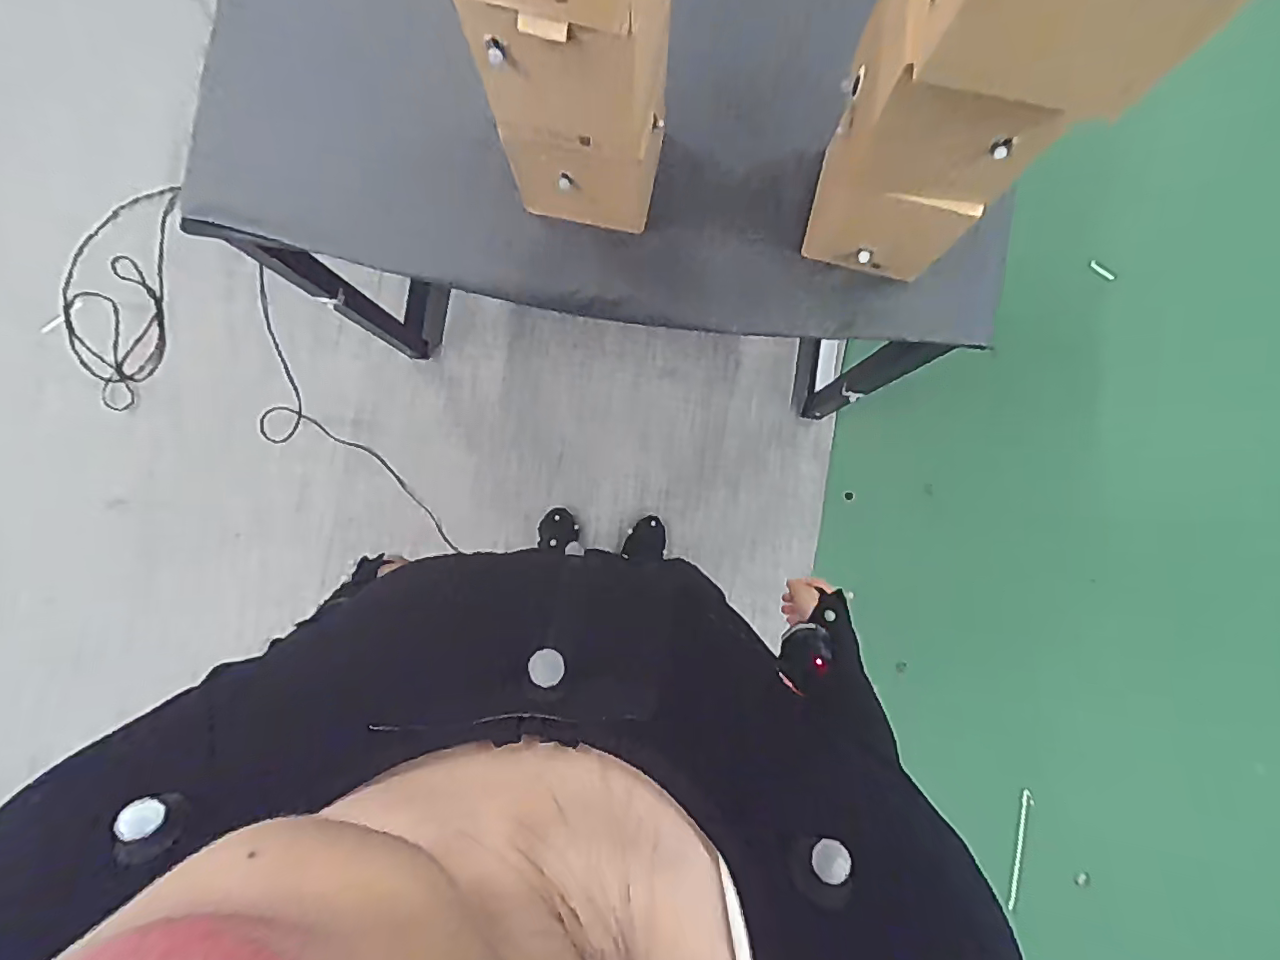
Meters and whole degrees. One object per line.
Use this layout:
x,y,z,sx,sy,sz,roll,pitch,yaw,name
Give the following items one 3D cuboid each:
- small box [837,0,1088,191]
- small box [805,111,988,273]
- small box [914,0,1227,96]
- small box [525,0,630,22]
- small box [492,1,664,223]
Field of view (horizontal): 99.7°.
0.316,-0.418,0.537,0.179,0.176,0.168,7,84,3,small box
0.329,-0.402,0.698,0.168,0.176,0.179,14,86,2,small box
0.325,-0.409,0.370,0.179,0.176,0.168,12,84,2,small box
-0.070,-0.492,0.382,0.168,0.176,0.179,14,86,1,small box
-0.070,-0.466,0.709,0.179,0.176,0.168,11,86,2,small box
